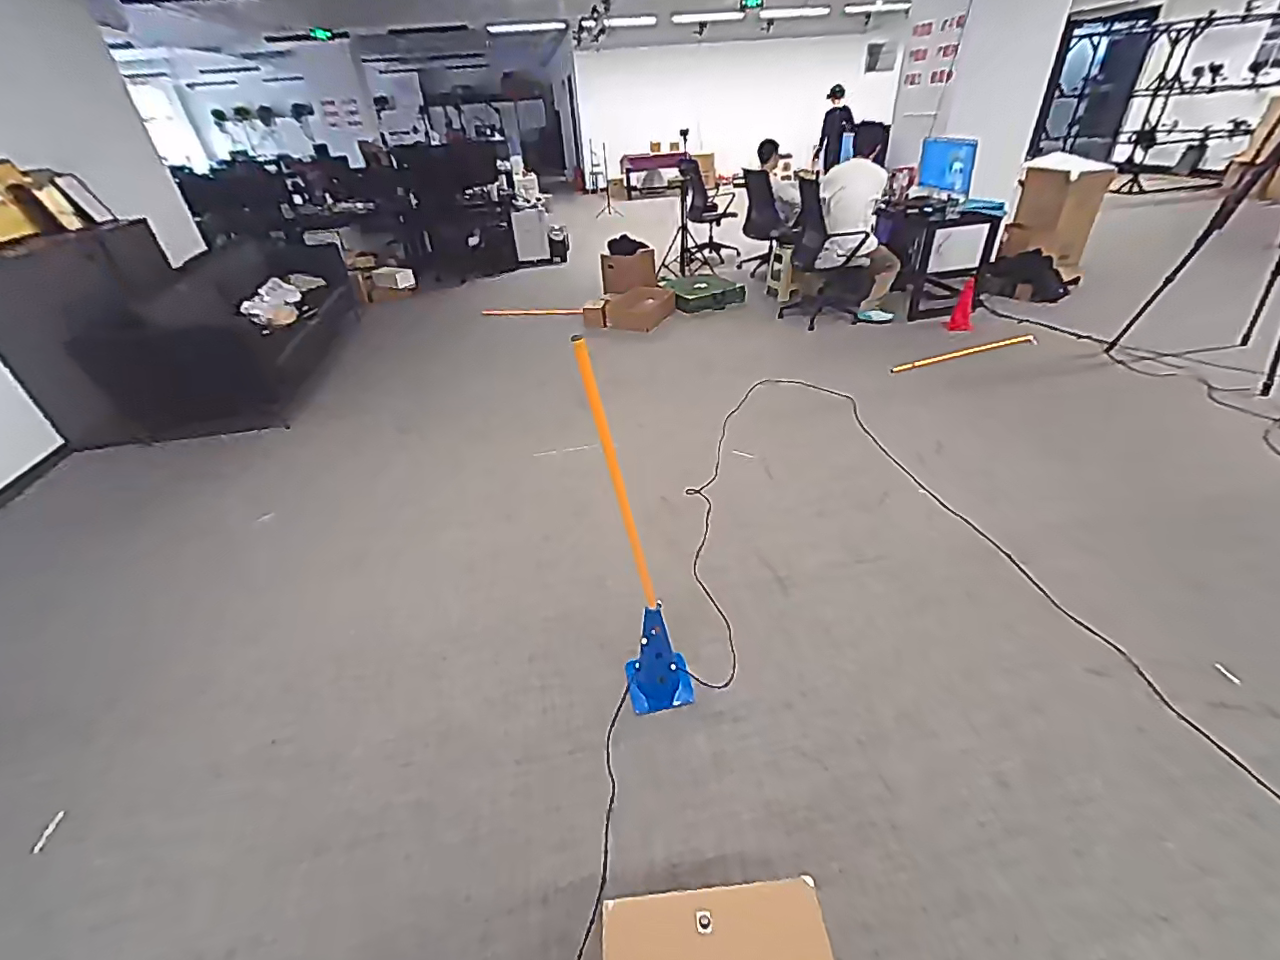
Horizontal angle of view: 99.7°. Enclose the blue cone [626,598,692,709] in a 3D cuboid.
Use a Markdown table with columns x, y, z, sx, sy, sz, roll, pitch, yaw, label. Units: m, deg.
| x | y | z | sx | sy | sz | roll | pitch | yaw | label |
| --- | --- | --- | --- | --- | --- | --- | --- | --- | --- |
| 0.046 | 0.508 | 1.647 | 0.193 | 0.380 | 0.192 | -12 | 35 | -8 | blue cone |
